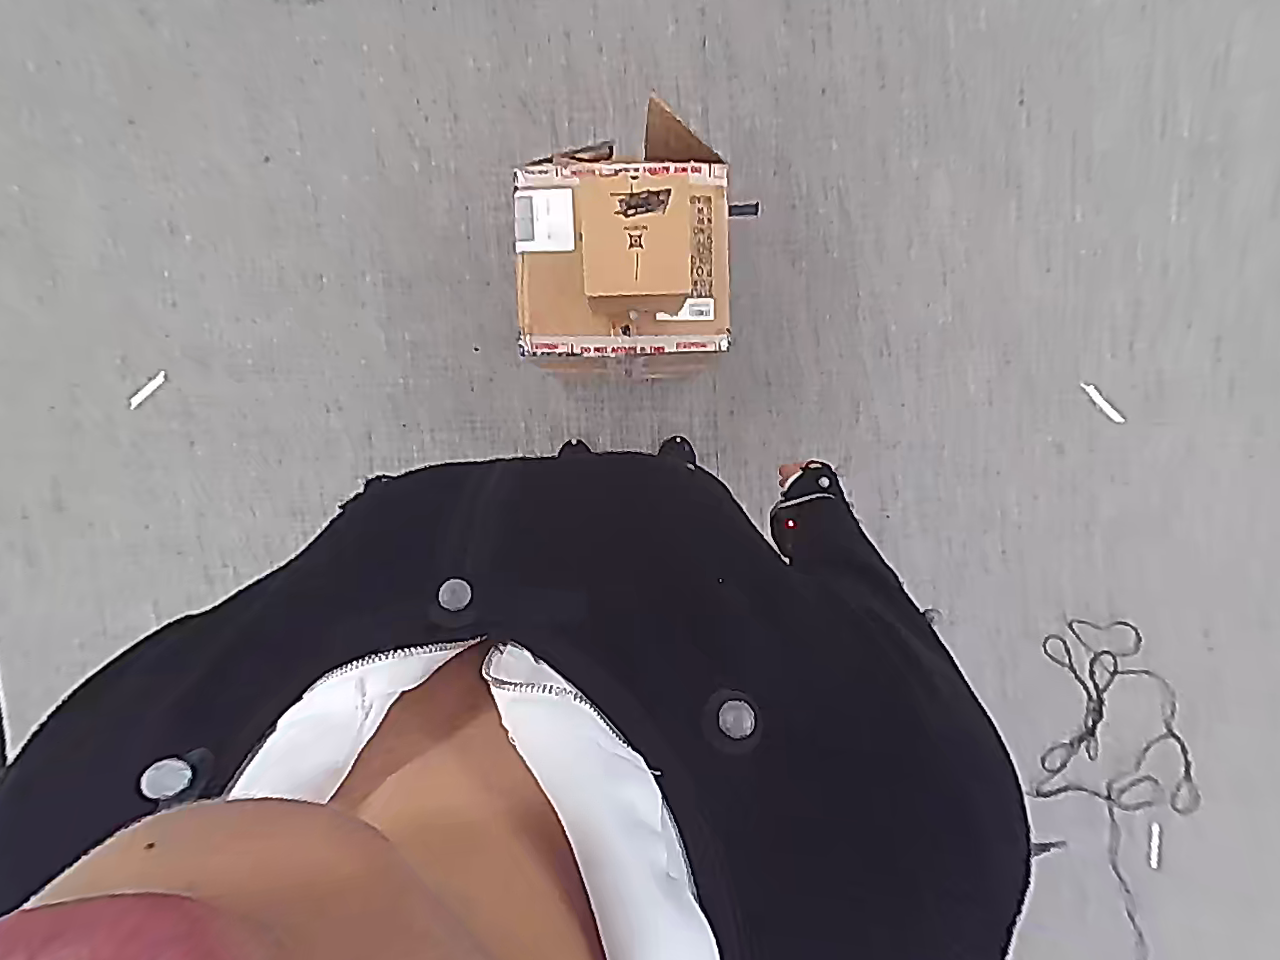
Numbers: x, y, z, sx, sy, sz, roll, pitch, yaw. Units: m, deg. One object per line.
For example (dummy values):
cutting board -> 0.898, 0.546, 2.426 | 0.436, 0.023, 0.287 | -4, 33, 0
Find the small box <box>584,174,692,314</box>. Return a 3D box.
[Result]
small box -> -0.005, -0.380, 0.897 | 0.168, 0.176, 0.179 | -2, 98, -1
